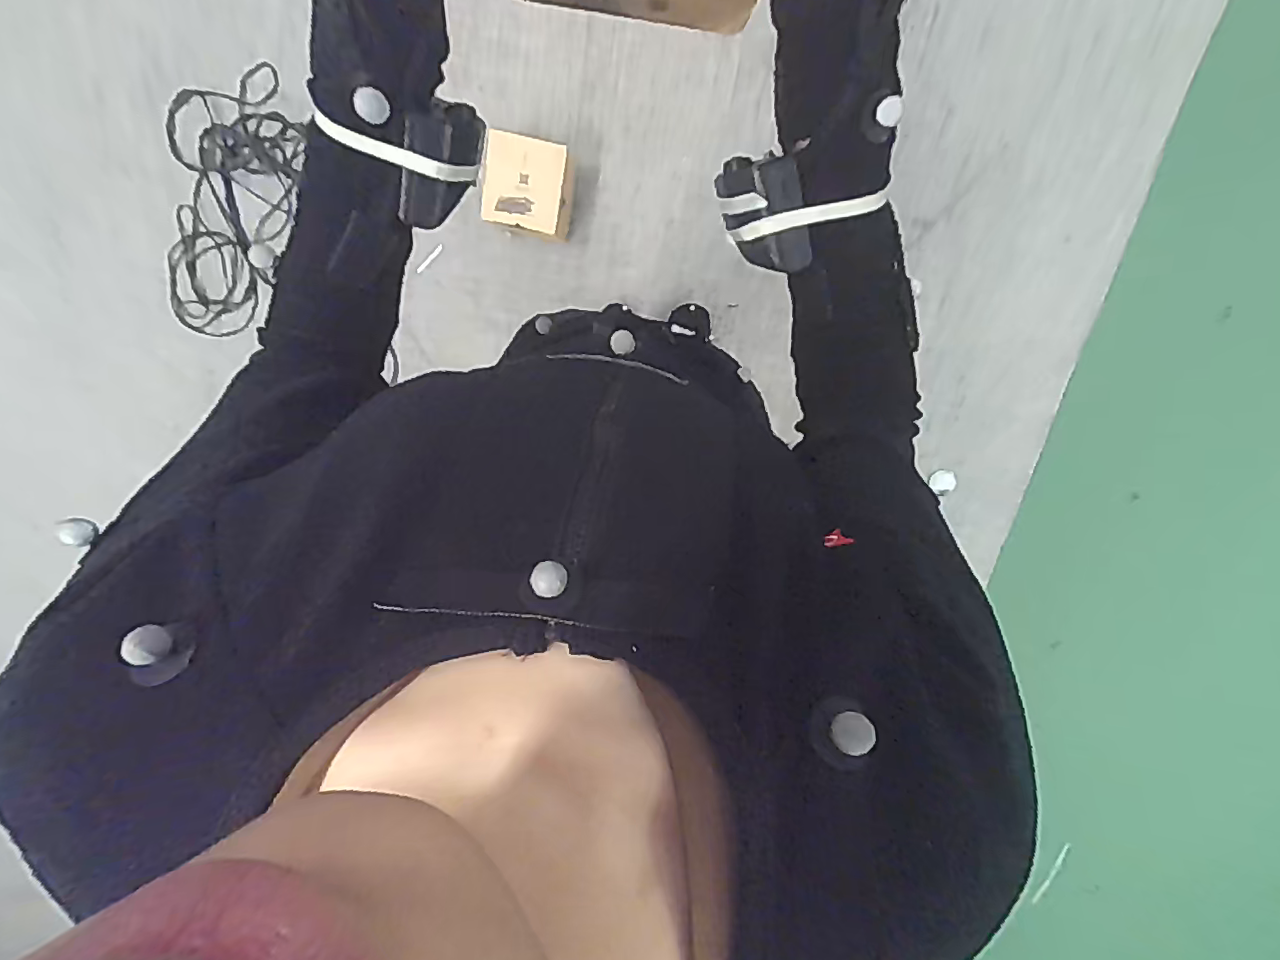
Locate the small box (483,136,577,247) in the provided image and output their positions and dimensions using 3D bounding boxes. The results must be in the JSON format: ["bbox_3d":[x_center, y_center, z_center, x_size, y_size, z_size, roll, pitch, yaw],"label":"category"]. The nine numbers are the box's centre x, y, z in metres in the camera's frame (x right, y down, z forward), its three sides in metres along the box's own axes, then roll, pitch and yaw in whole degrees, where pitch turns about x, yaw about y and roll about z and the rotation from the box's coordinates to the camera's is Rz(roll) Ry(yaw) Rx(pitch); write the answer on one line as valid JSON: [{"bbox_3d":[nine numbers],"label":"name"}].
[{"bbox_3d":[-0.243,-0.640,1.225,0.168,0.176,0.179,12,107,-2],"label":"small box"}]
